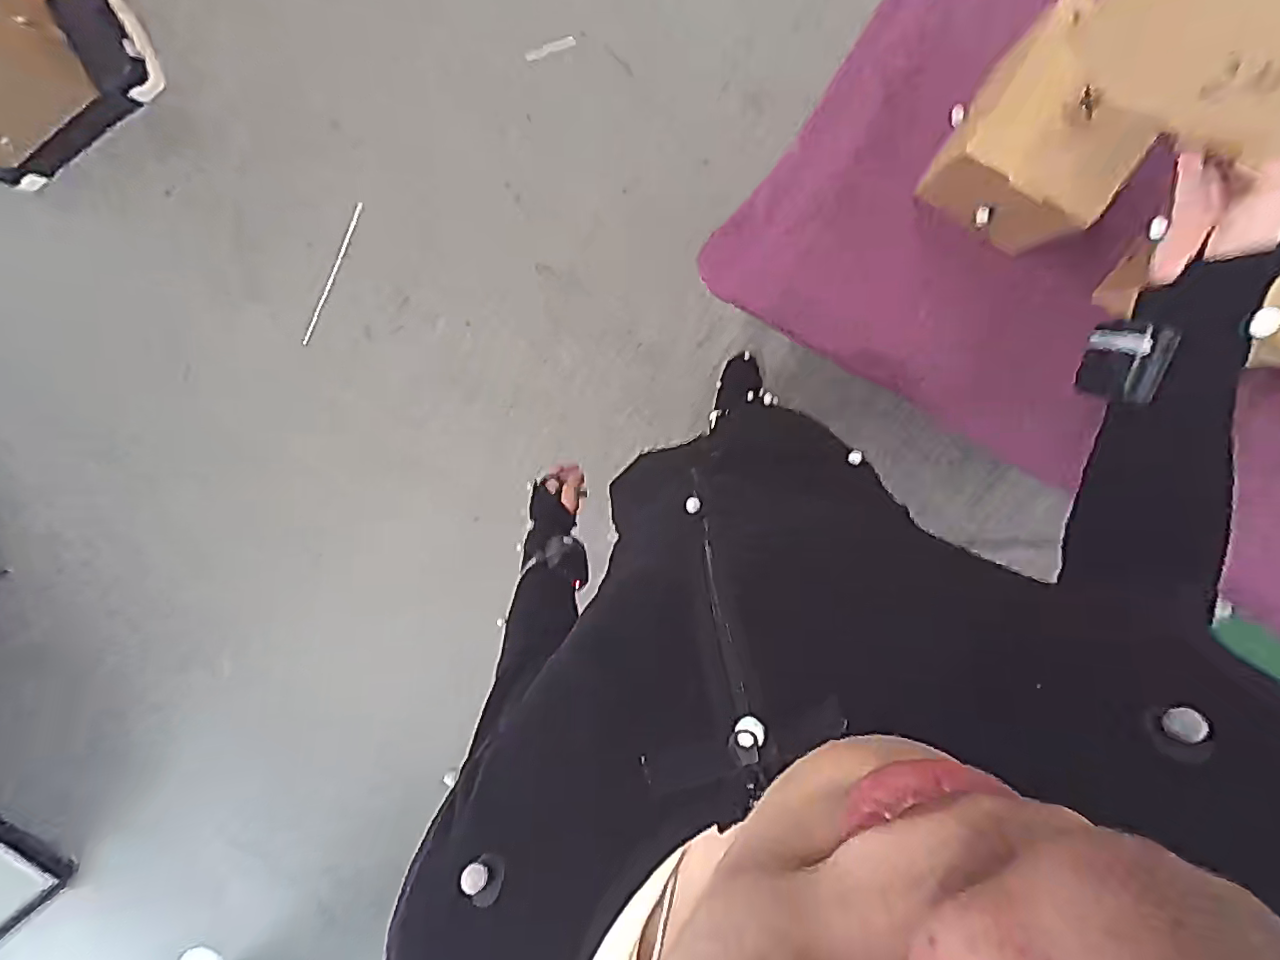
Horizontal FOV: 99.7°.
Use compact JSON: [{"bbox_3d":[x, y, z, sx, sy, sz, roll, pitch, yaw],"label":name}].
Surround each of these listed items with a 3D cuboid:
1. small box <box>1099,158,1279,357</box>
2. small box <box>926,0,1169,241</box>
[{"bbox_3d":[0.724,-0.259,0.643,0.179,0.176,0.168,32,105,2],"label":"small box"},{"bbox_3d":[0.477,-0.414,0.647,0.168,0.176,0.179,31,106,1],"label":"small box"}]
